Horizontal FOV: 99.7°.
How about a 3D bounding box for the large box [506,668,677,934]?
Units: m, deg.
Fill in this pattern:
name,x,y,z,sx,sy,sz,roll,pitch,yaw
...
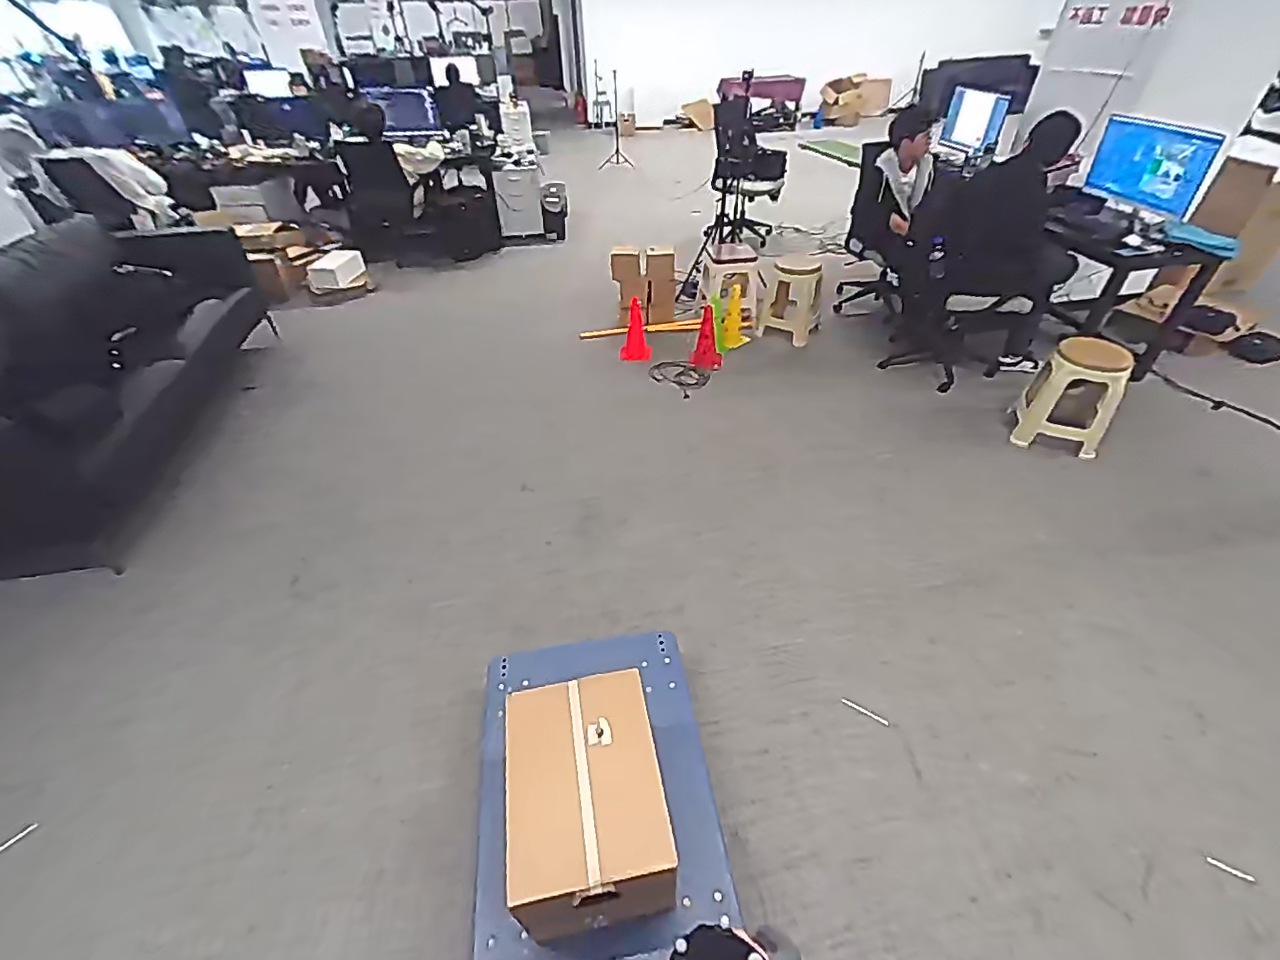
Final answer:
name,x,y,z,sx,sy,sz,roll,pitch,yaw
large box,-0.112,0.711,1.222,0.320,0.320,0.408,-9,42,-7
